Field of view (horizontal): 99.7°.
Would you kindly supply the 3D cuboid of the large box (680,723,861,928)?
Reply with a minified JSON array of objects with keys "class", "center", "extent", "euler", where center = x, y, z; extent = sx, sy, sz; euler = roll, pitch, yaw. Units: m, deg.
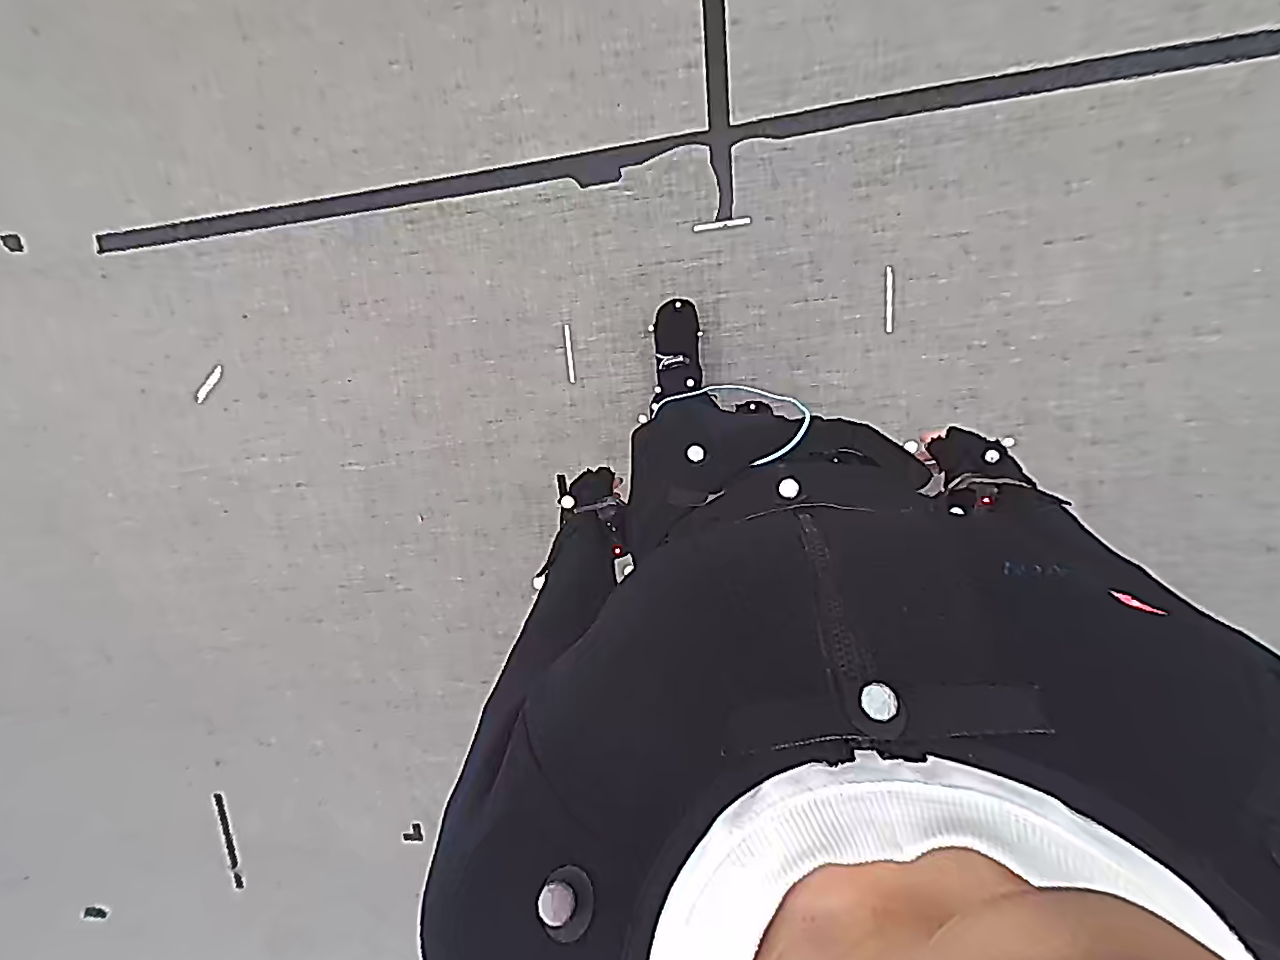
[{"class":"large box","center":[0.324,0.908,1.464],"extent":[0.408,0.320,0.320],"euler":[8,103,4]}]
